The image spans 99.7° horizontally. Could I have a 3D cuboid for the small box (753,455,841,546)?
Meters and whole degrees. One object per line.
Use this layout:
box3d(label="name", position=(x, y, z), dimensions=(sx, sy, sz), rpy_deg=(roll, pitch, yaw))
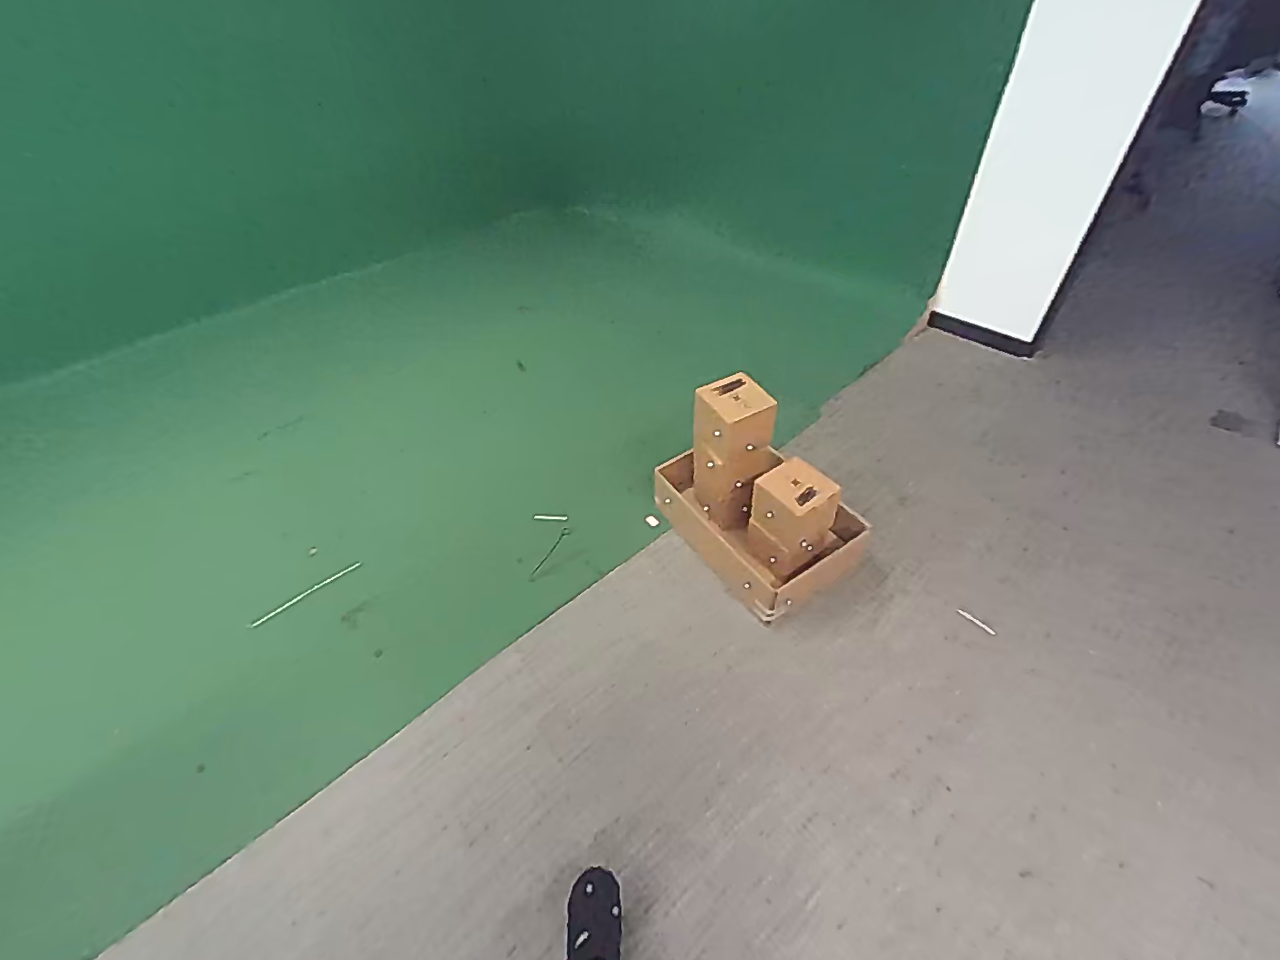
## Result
box3d(label="small box", position=(0.445, 0.066, 1.558), dimensions=(0.168, 0.176, 0.179), rpy_deg=(-29, 48, -20))

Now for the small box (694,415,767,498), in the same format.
box3d(label="small box", position=(0.279, -0.074, 1.717), dimensions=(0.168, 0.176, 0.179), rpy_deg=(-19, 50, -13))
